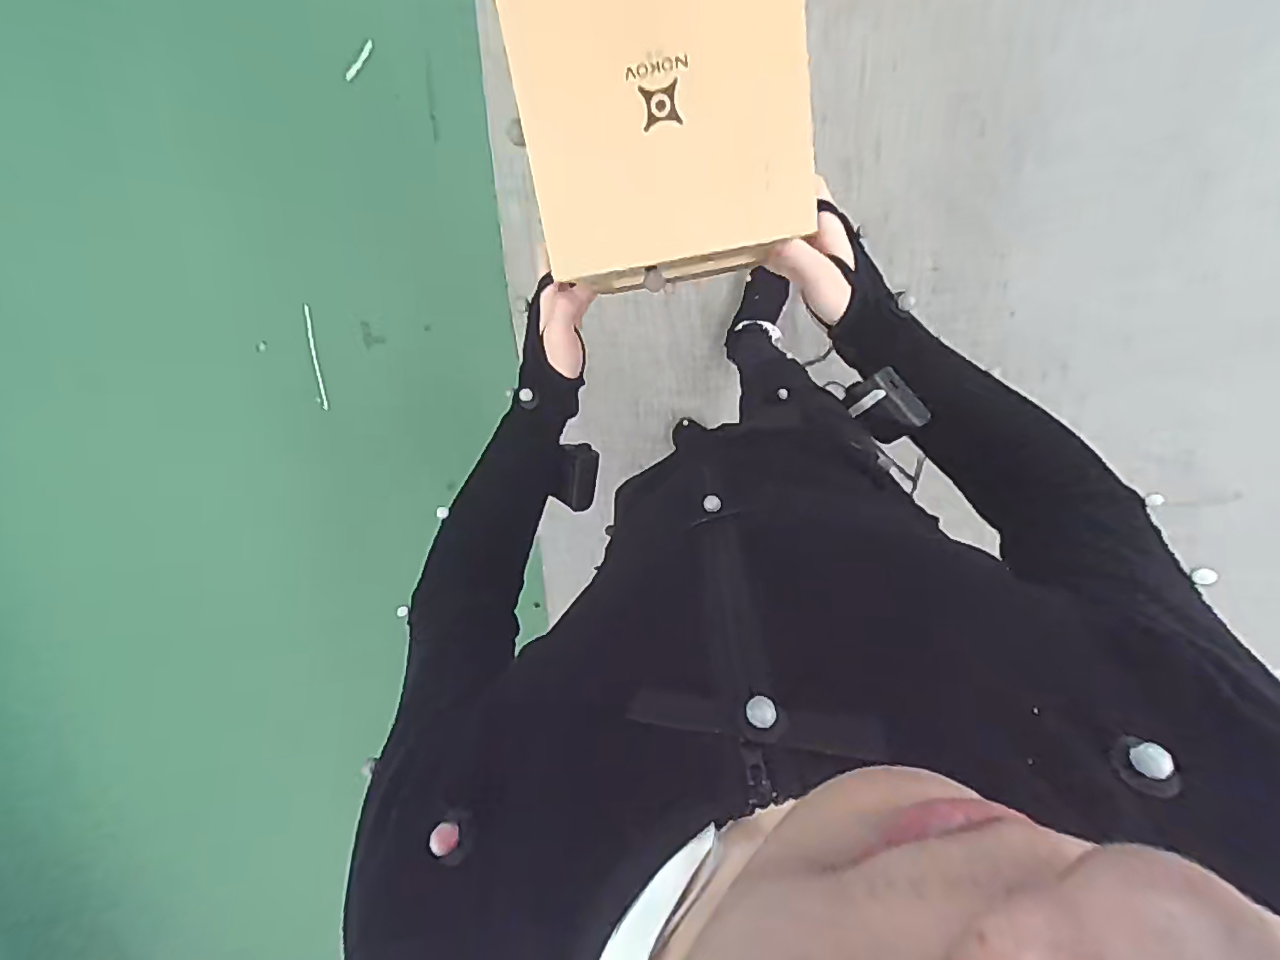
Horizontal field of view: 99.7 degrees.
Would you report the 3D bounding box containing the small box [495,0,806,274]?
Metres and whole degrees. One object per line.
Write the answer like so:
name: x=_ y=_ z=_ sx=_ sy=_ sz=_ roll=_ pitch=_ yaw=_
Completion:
small box: x=0.015 y=-0.248 z=0.382 sx=0.168 sy=0.176 sz=0.179 roll=-7 pitch=107 yaw=7
